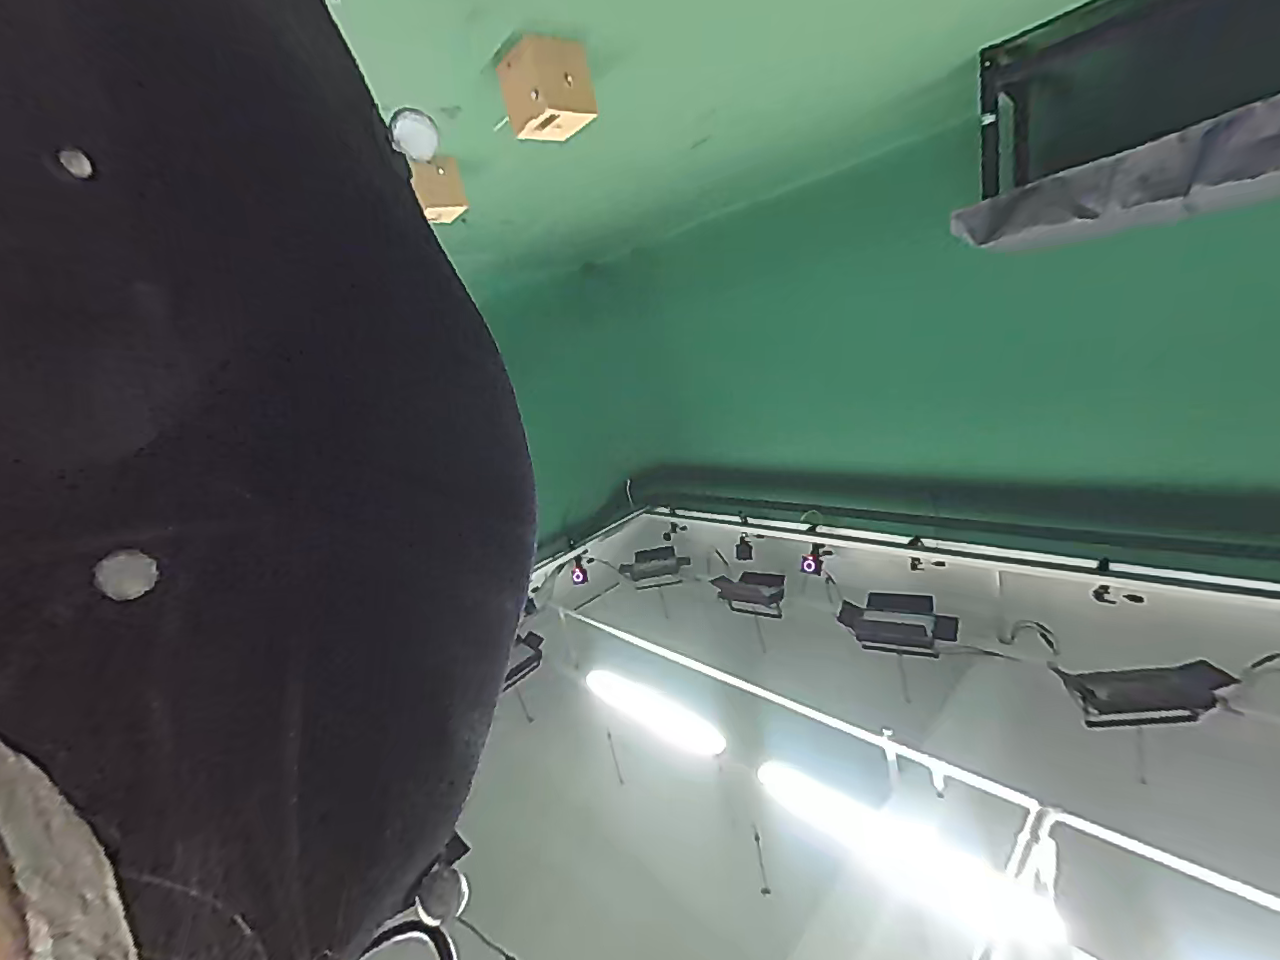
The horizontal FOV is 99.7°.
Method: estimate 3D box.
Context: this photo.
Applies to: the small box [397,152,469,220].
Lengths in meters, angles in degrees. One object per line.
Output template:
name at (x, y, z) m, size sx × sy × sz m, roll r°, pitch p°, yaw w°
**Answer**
small box at (-0.745, -1.048, 1.936) m, size 0.168 × 0.176 × 0.179 m, roll -27°, pitch -160°, yaw -39°
